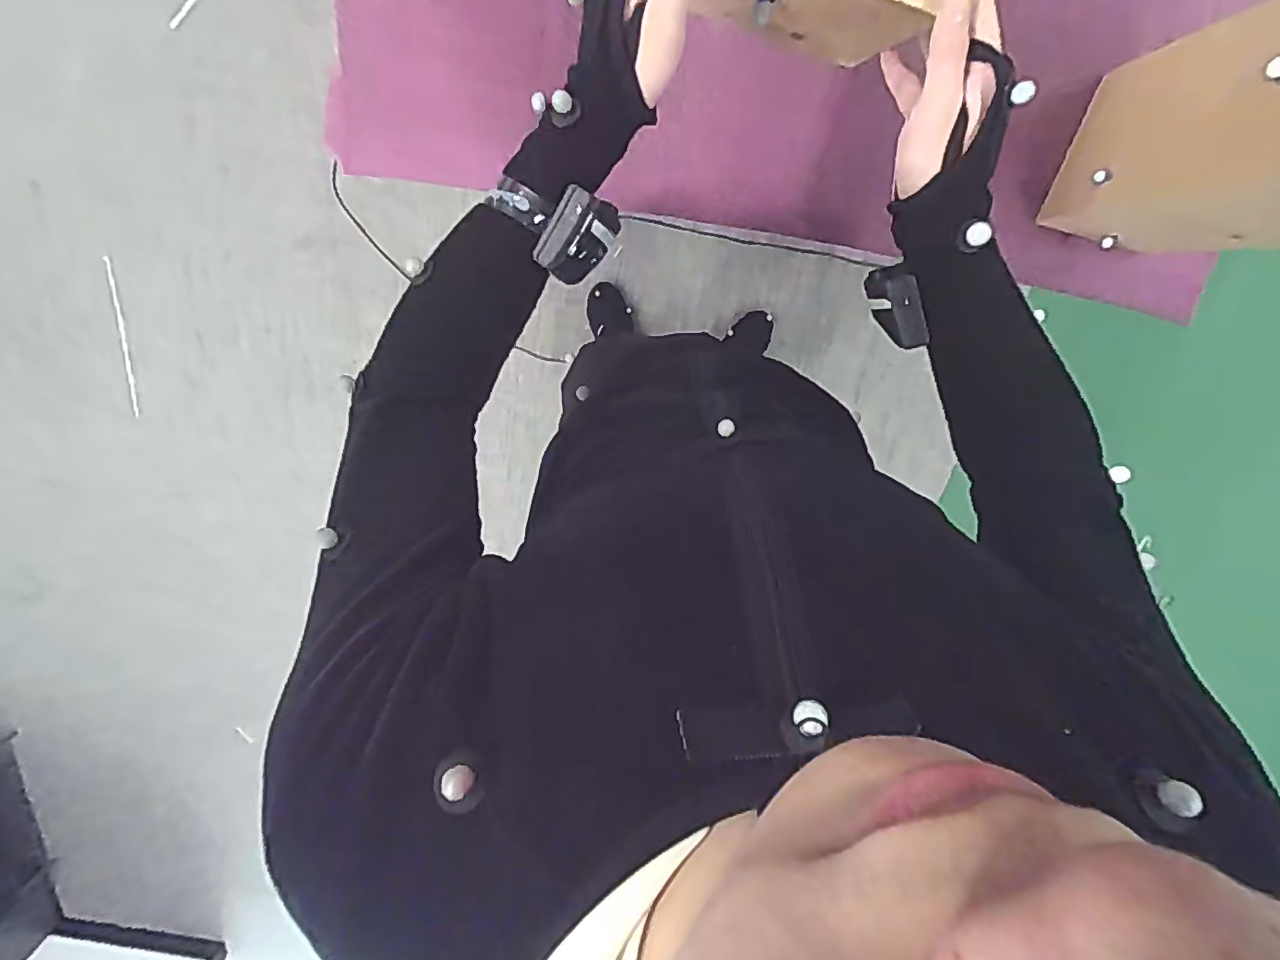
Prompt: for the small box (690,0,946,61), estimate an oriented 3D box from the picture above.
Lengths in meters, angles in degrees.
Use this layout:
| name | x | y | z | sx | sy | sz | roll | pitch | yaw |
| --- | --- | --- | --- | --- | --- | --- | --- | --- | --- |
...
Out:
| name | x | y | z | sx | sy | sz | roll | pitch | yaw |
| --- | --- | --- | --- | --- | --- | --- | --- | --- | --- |
| small box | 0.126 | -0.410 | 0.352 | 0.168 | 0.176 | 0.179 | 12 | 117 | -8 |
